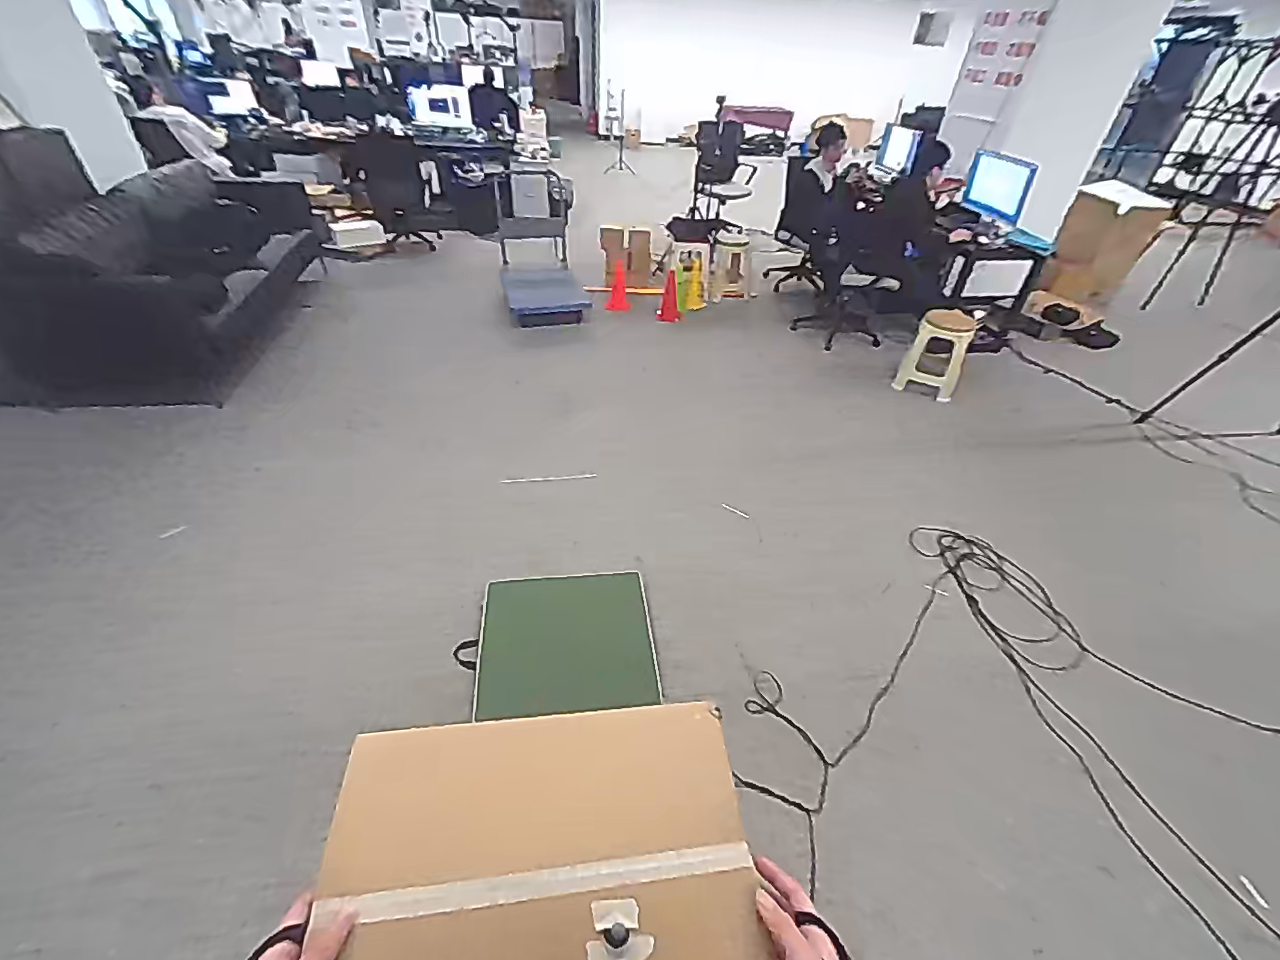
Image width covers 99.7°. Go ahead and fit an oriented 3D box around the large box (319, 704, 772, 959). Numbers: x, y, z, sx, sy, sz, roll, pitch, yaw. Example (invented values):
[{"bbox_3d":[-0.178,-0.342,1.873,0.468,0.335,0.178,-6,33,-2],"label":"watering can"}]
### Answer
[{"bbox_3d":[-0.098,0.495,0.620,0.408,0.320,0.320,-2,44,-8],"label":"large box"}]
